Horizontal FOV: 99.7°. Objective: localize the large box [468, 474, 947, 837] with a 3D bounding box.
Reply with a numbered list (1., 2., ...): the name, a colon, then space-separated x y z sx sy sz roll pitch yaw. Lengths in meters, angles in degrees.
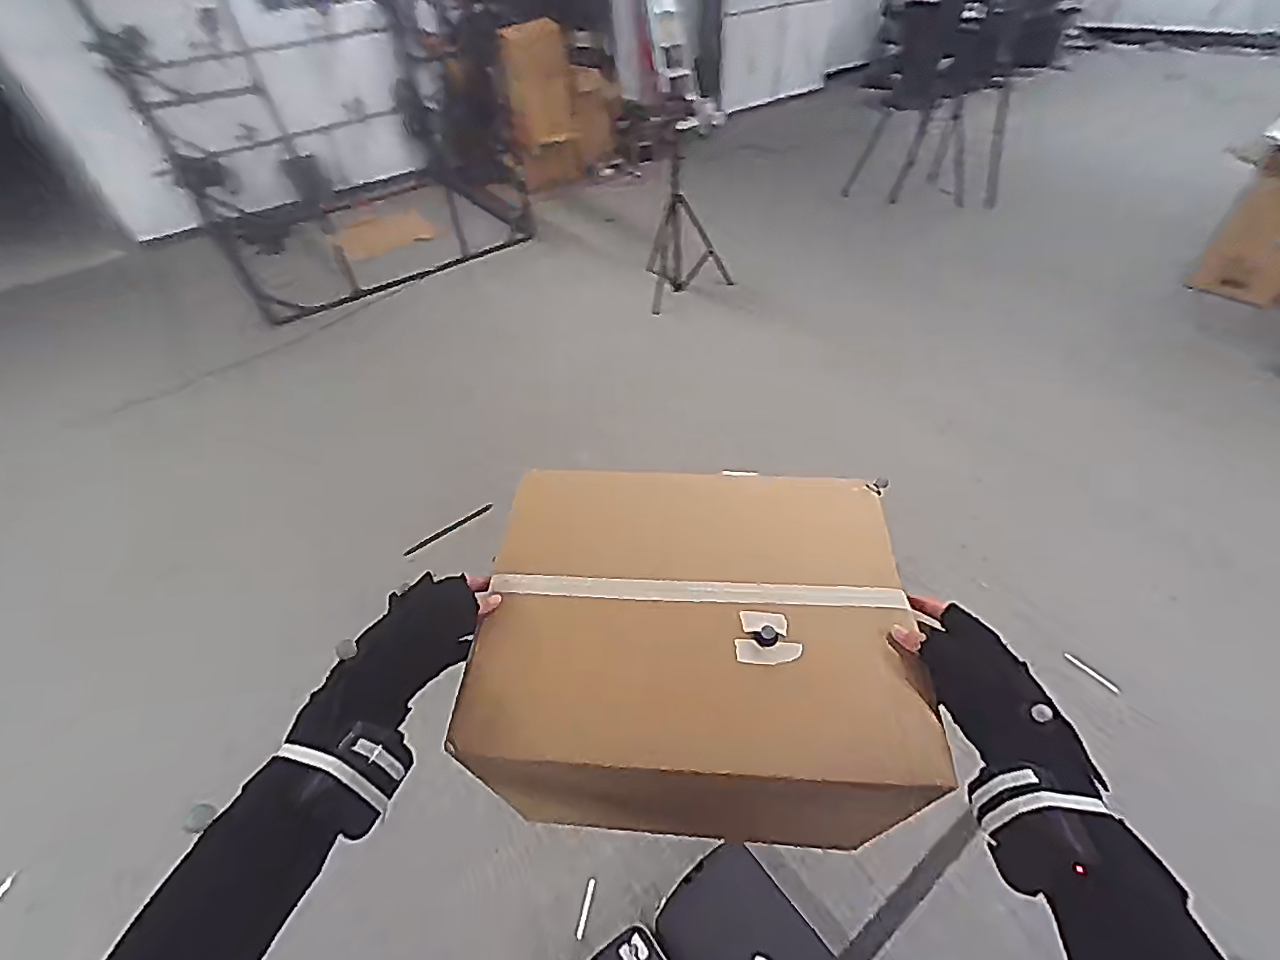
1. large box: 0.064 0.211 0.651 0.408 0.320 0.320 2 50 5
